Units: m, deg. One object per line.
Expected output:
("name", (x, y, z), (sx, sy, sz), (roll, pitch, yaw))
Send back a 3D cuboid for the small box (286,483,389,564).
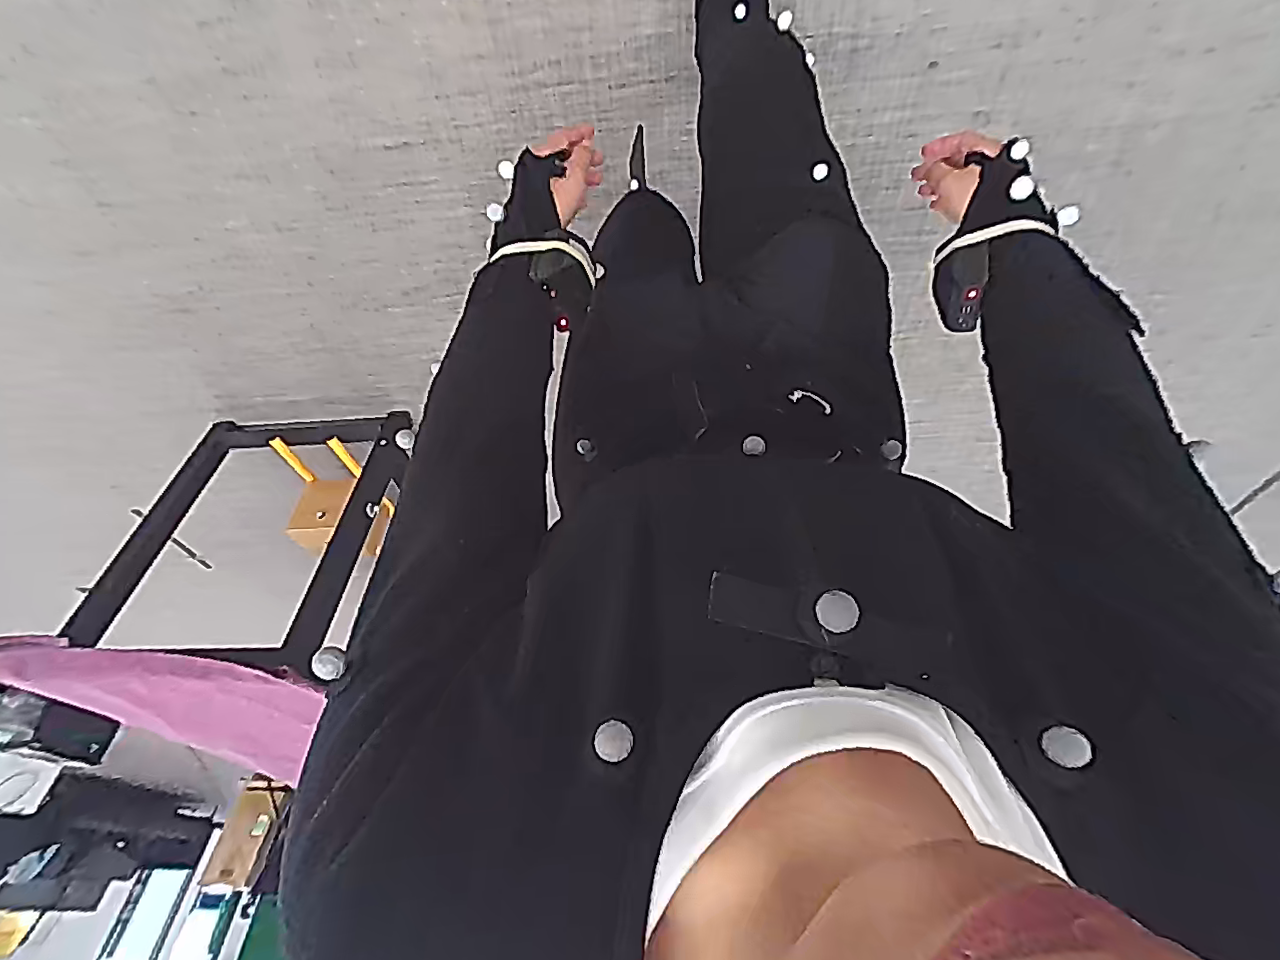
("small box", (-0.853, 0.124, 1.544), (0.179, 0.176, 0.168), (-4, 141, 4))
